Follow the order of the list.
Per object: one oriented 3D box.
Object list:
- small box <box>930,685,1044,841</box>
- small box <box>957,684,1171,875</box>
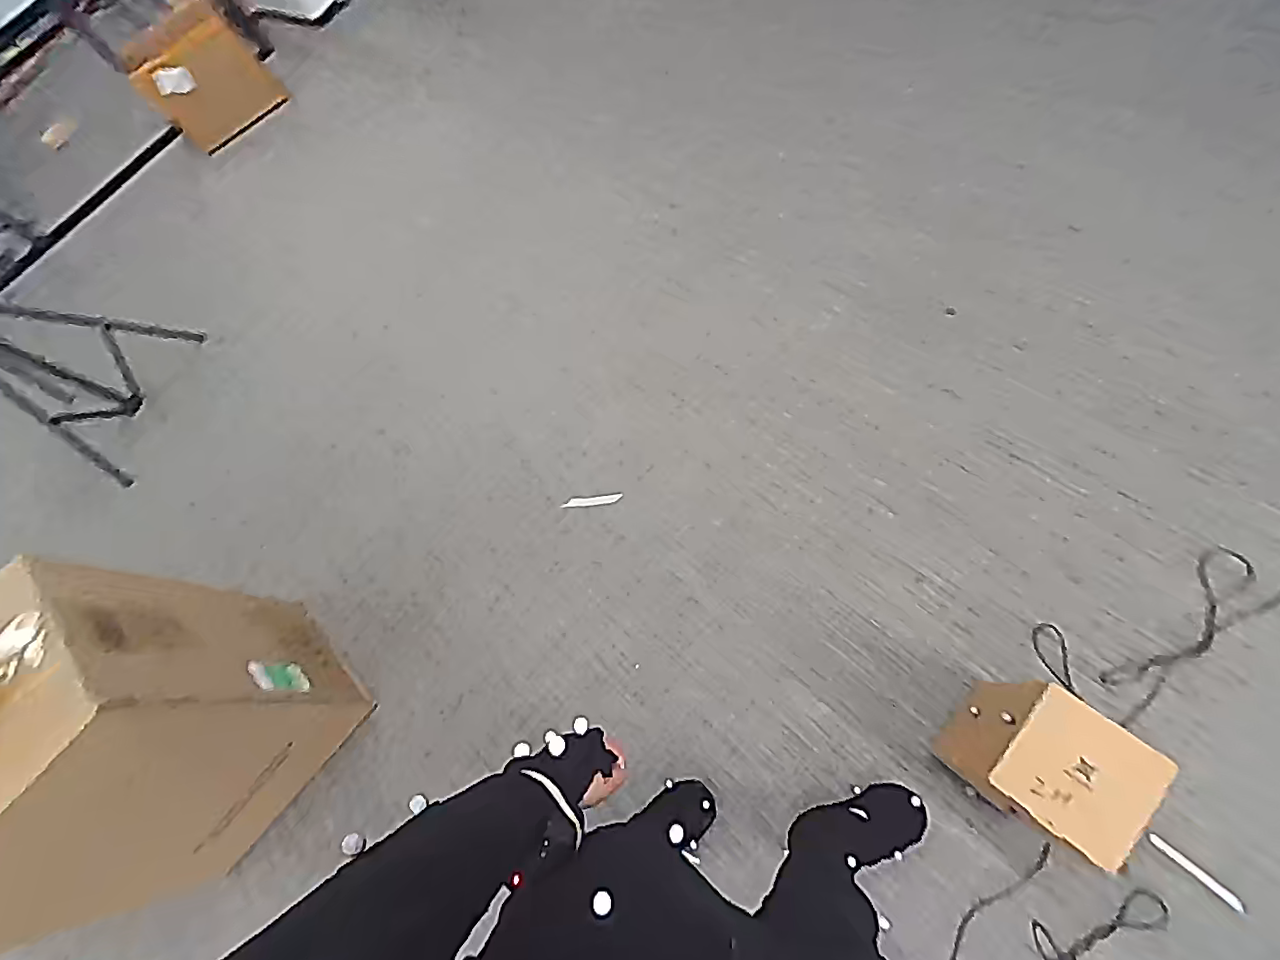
[{"bbox_3d":[0.654,0.489,0.965,0.168,0.176,0.179,39,83,24],"label":"small box"},{"bbox_3d":[0.617,0.432,0.815,0.168,0.176,0.179,37,82,24],"label":"small box"}]
